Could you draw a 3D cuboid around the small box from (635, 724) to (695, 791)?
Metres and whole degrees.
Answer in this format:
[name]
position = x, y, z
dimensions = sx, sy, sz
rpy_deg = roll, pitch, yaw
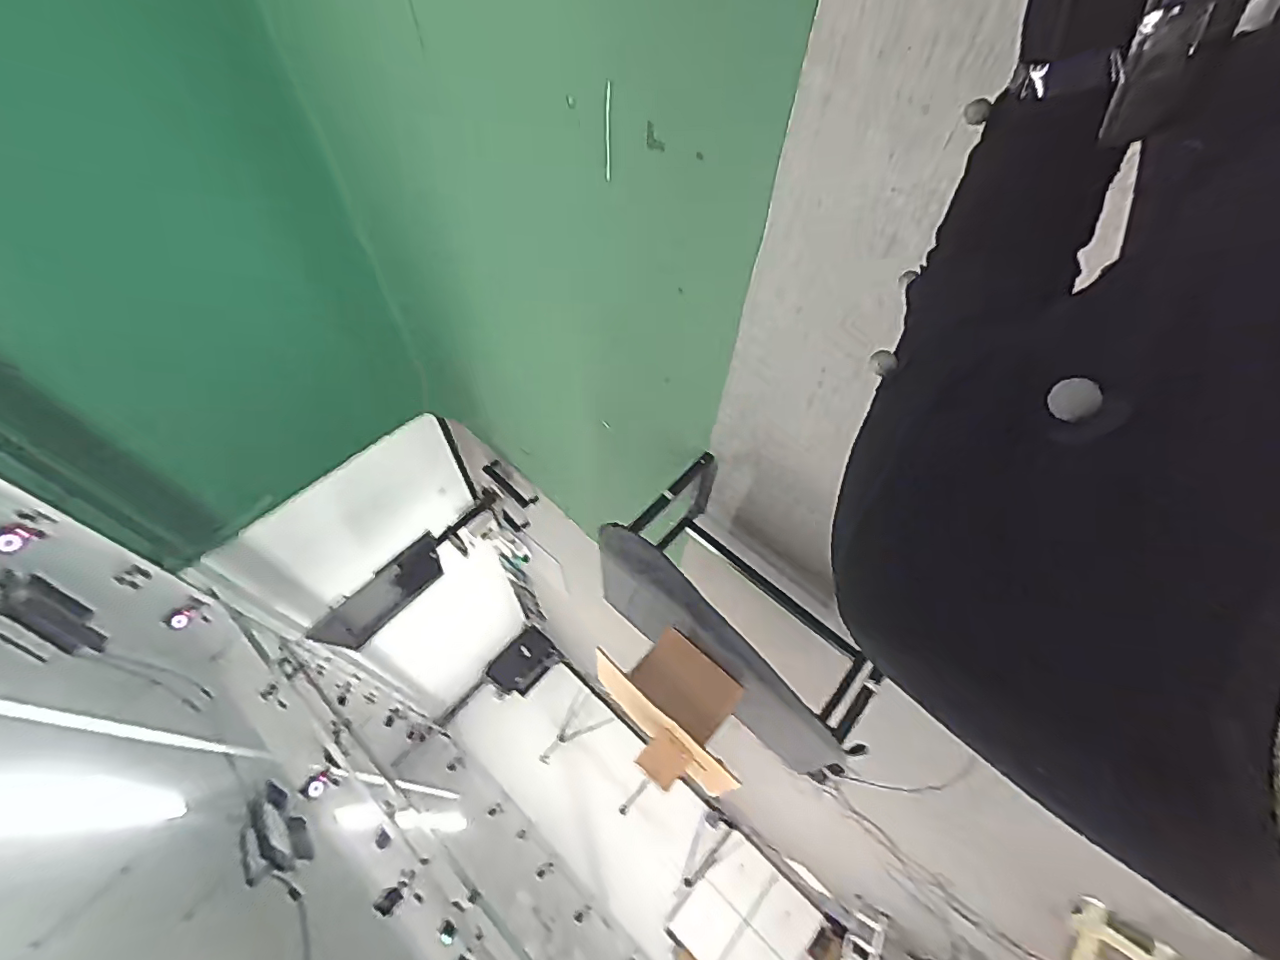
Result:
[small box]
position = 0.098, 1.080, 2.113
dimensions = 0.168, 0.176, 0.179
rpy_deg = 38, 154, 20
